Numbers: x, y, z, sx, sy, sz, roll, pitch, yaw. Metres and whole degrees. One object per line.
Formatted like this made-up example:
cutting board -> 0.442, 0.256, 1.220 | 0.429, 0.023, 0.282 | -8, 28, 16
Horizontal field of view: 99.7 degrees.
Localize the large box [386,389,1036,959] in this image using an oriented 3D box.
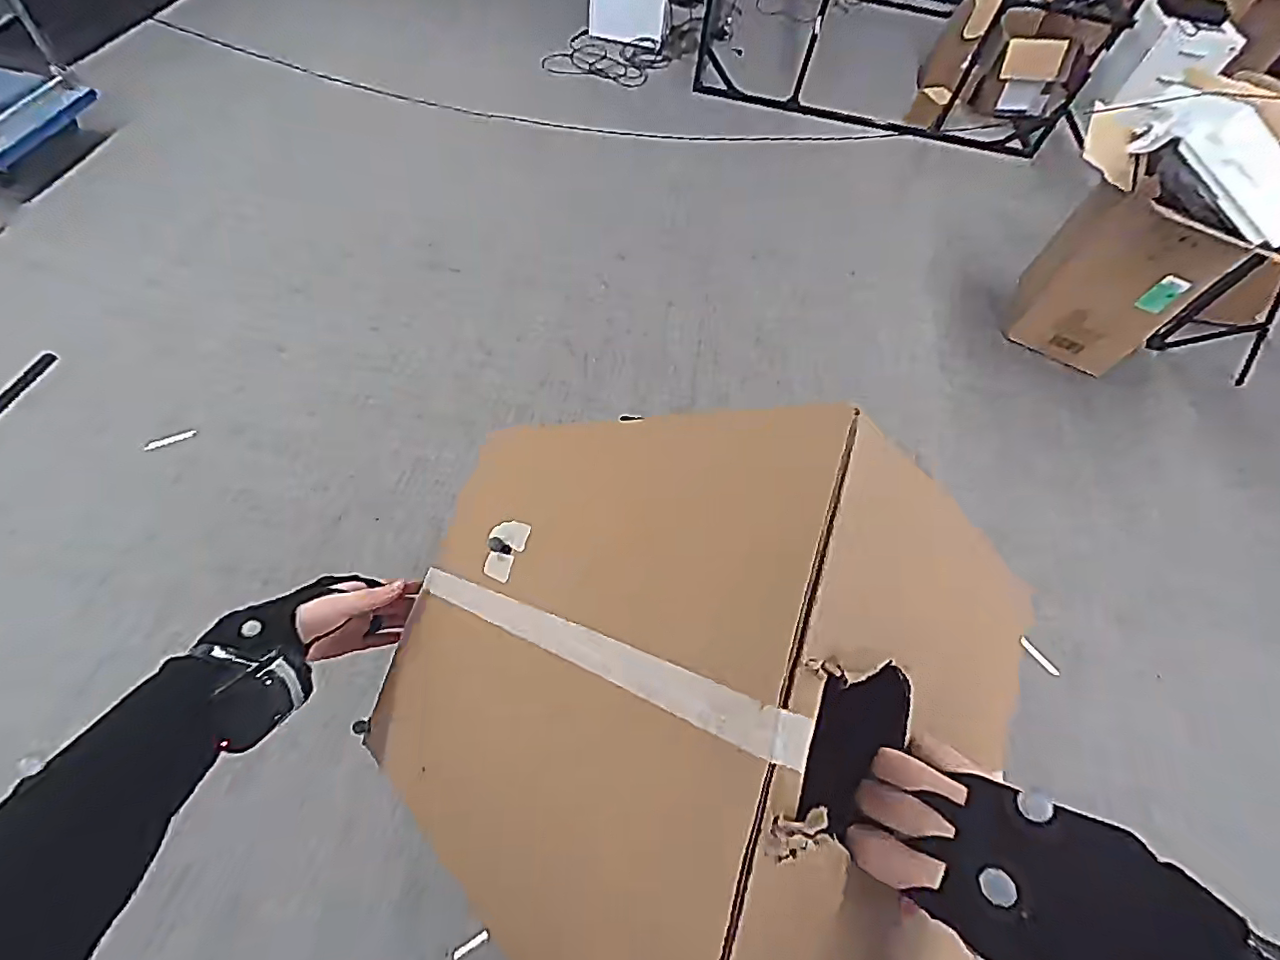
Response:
large box -> 0.047, 0.152, 0.458 | 0.320, 0.408, 0.320 | 28, 73, -36
